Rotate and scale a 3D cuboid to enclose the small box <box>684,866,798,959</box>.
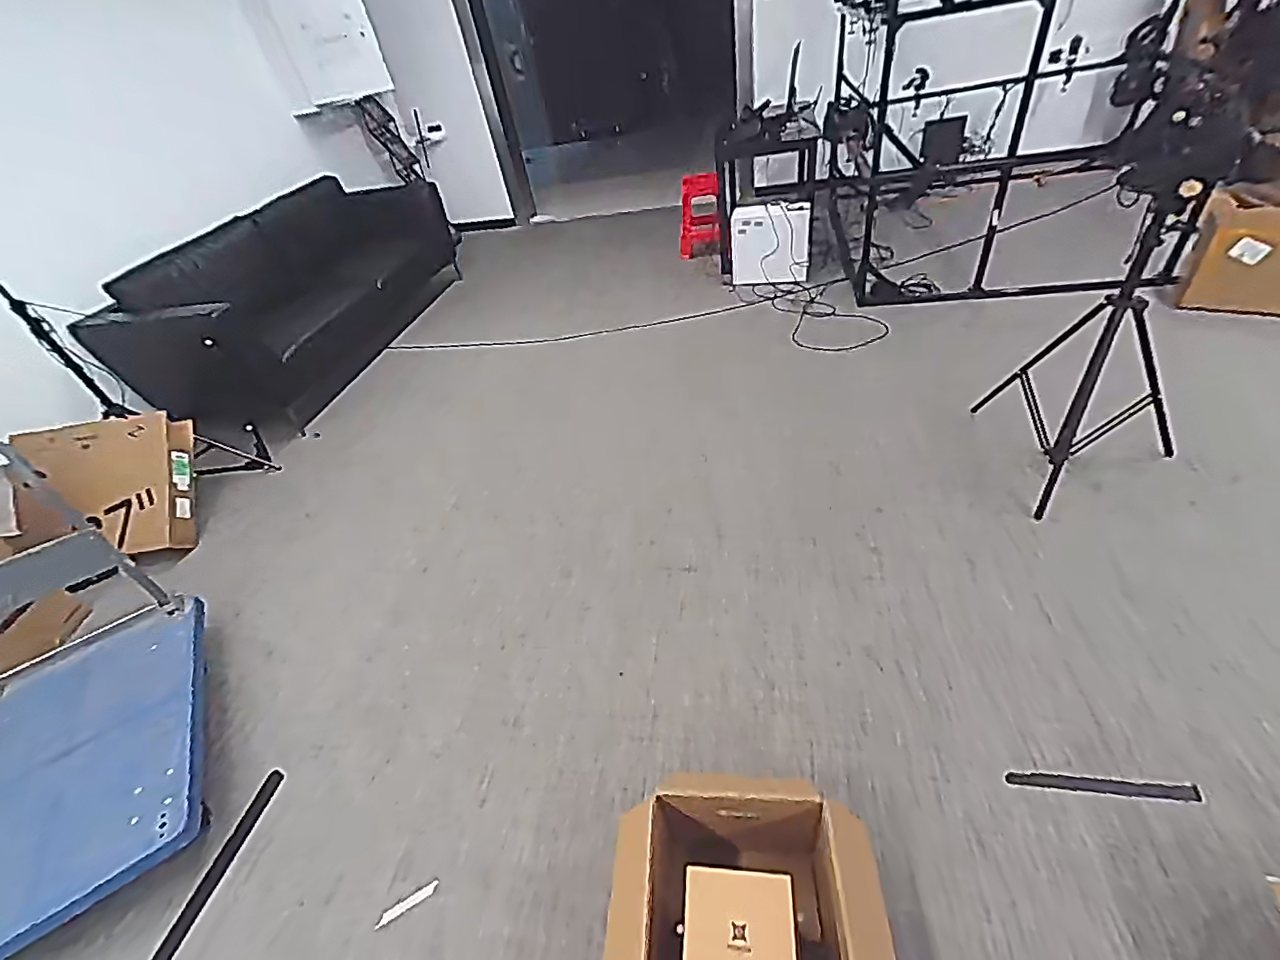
[{"bbox_3d":[0.160,0.745,0.854,0.168,0.176,0.179,-2,41,11],"label":"small box"}]
